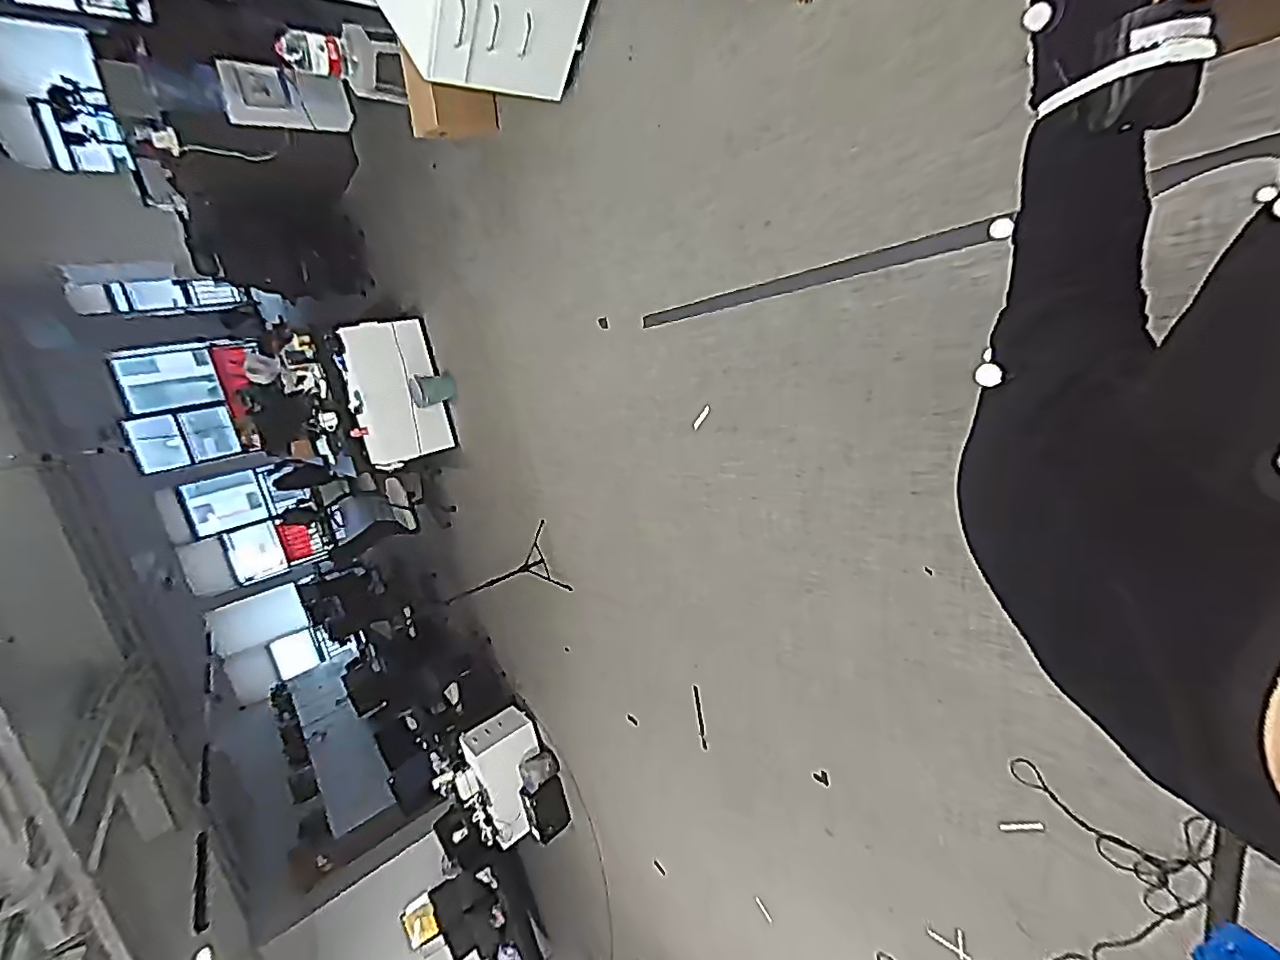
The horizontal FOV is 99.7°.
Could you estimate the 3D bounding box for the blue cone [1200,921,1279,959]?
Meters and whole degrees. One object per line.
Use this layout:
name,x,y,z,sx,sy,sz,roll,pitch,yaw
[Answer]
blue cone,1.351,1.206,1.175,0.193,0.380,0.192,32,130,40

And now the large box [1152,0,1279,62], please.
large box,0.544,-0.493,0.264,0.408,0.320,0.320,7,116,48
